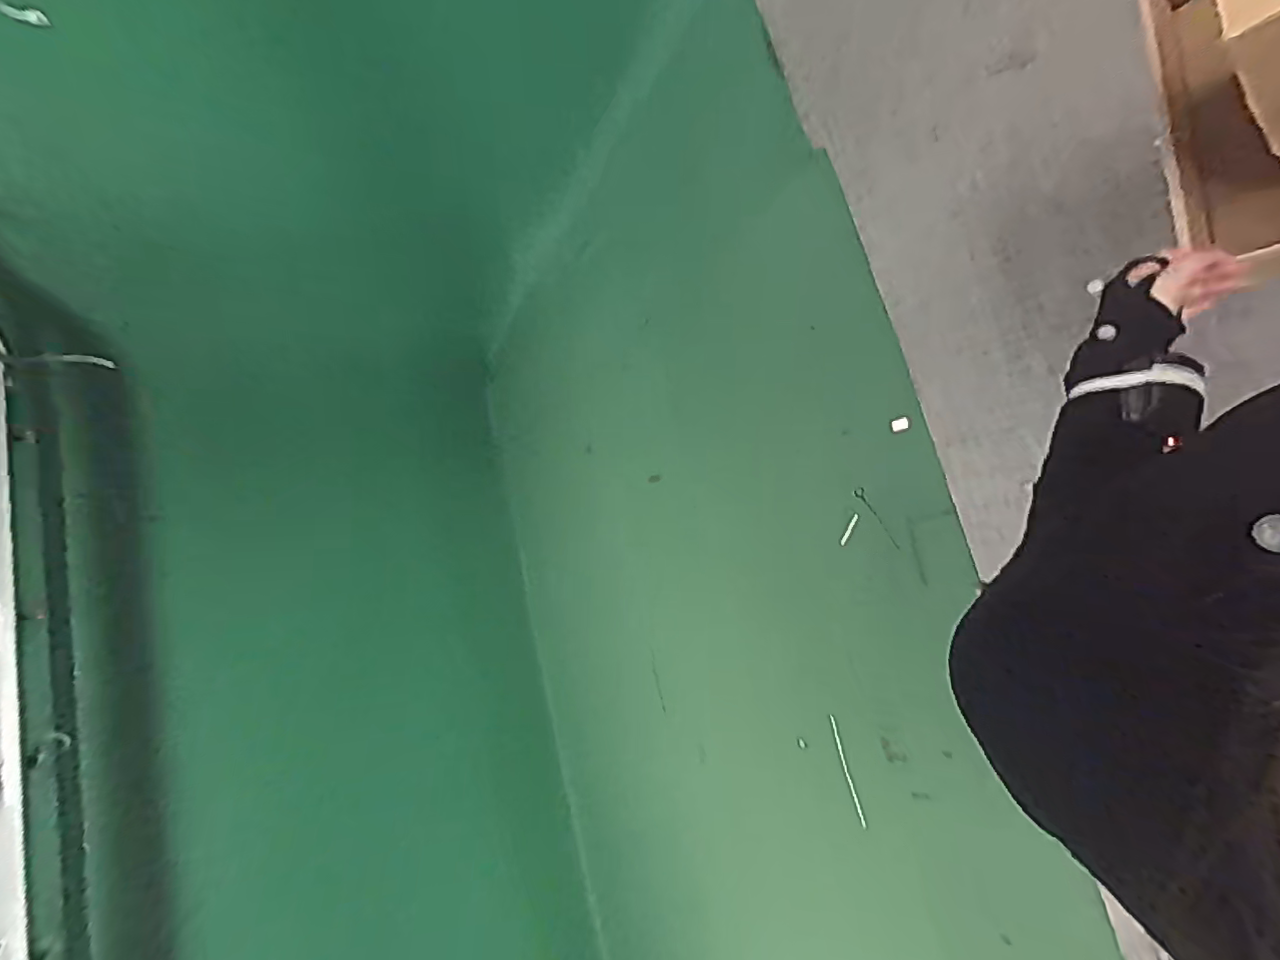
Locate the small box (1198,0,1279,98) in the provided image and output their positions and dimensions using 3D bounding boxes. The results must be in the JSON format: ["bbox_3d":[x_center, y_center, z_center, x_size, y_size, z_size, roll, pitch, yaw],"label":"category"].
[{"bbox_3d":[0.513,-0.412,0.370,0.179,0.176,0.168,-12,86,54],"label":"small box"}]

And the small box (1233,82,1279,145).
[{"bbox_3d":[0.645,-0.432,0.467,0.179,0.176,0.168,-11,87,54],"label":"small box"}]
